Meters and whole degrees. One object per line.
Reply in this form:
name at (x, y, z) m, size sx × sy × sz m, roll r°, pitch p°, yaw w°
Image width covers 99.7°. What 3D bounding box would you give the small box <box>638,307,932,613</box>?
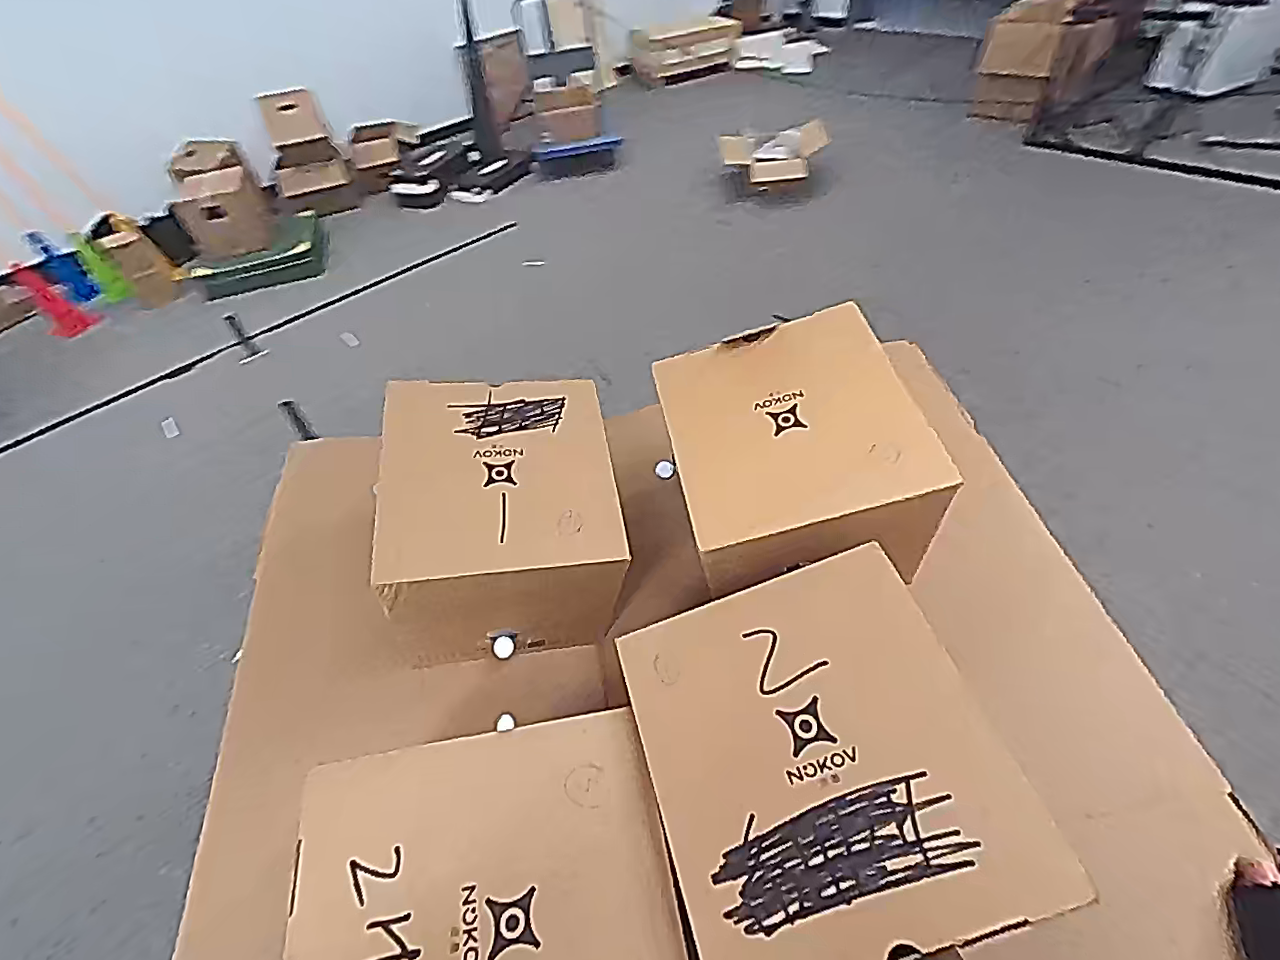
small box at (0.110, -0.003, 0.452) m, size 0.168 × 0.176 × 0.179 m, roll -17°, pitch 54°, yaw 5°
